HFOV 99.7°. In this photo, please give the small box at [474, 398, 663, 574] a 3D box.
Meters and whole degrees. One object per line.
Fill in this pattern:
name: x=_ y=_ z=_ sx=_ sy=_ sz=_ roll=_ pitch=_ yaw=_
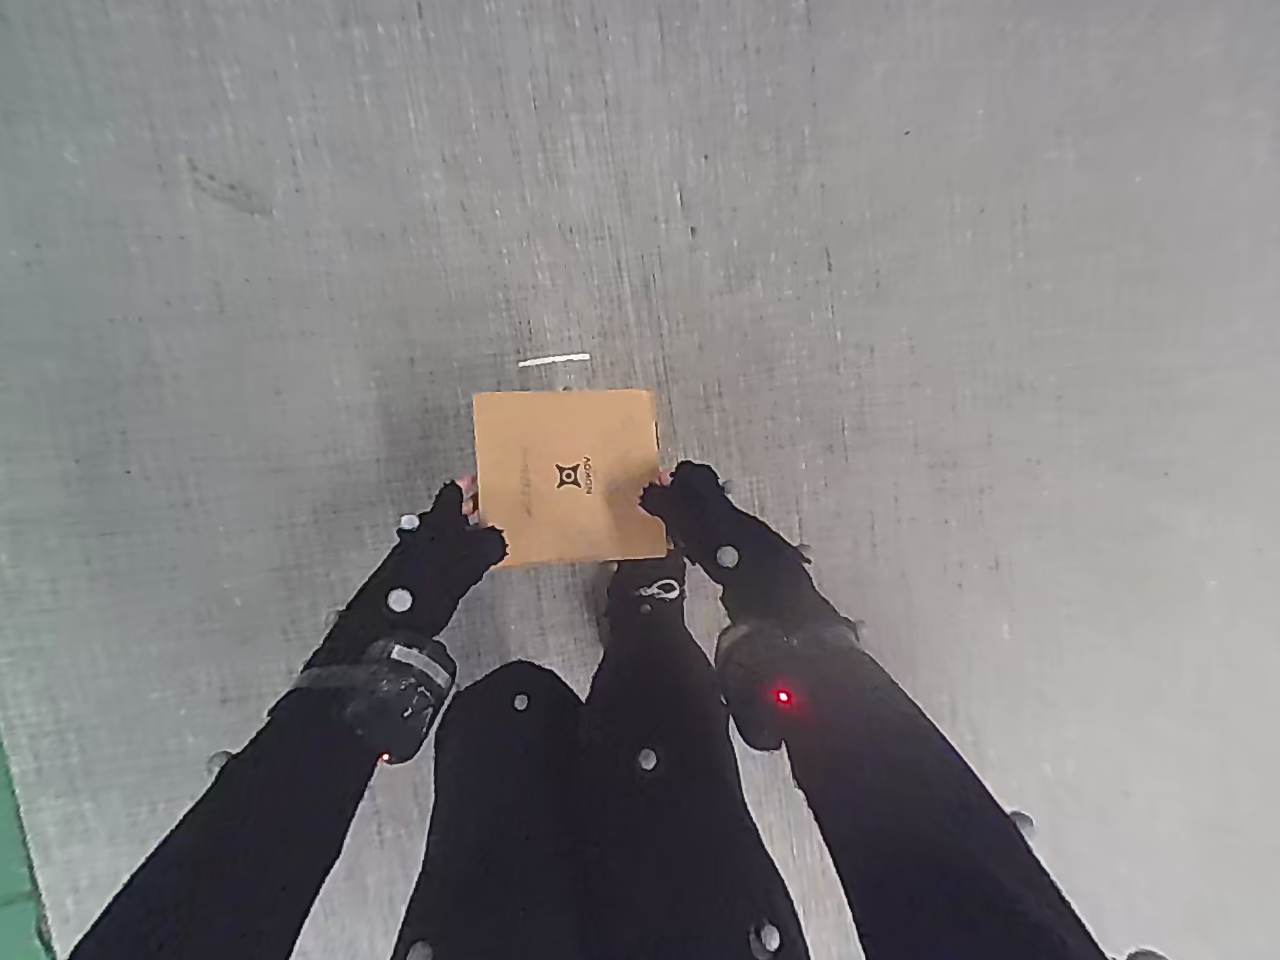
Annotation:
small box: x=-0.082 y=0.011 z=0.600 sx=0.179 sy=0.176 sz=0.168 roll=-4 pitch=83 yaw=-10
